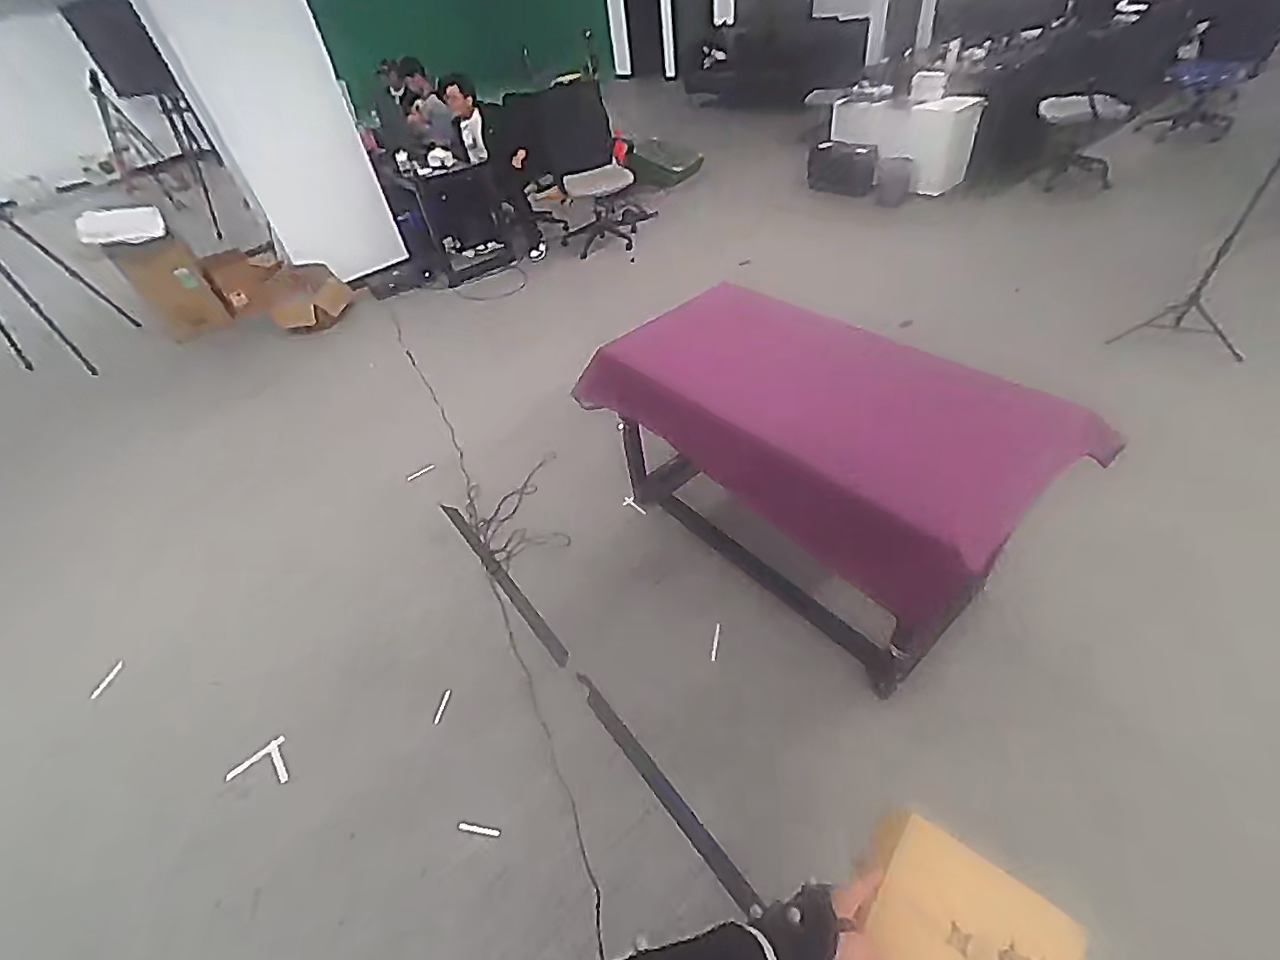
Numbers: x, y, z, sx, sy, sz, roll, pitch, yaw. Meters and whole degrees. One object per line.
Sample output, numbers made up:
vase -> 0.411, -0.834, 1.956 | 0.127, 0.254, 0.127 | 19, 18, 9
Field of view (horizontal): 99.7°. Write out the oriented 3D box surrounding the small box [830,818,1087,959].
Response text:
small box -> 0.337, 0.507, 0.605 | 0.179, 0.176, 0.168 | 28, 68, 25
